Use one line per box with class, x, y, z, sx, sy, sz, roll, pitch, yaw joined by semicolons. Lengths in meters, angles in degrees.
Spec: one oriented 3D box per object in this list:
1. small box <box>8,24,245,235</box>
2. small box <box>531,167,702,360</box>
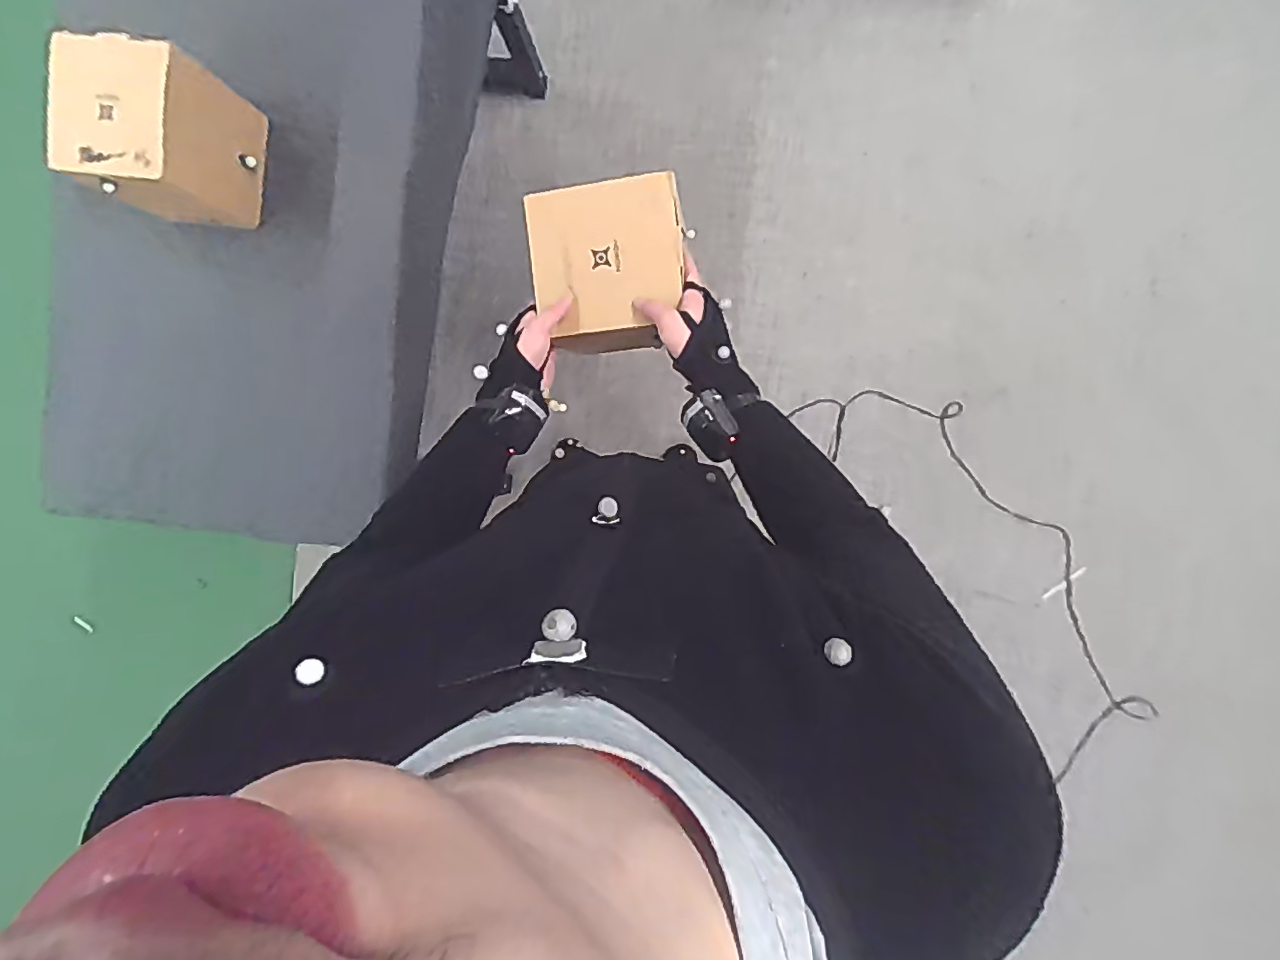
small box;-0.684;-0.466;0.742;0.168;0.176;0.179;6;93;2
small box;-0.018;-0.251;0.670;0.179;0.176;0.168;-6;93;8
